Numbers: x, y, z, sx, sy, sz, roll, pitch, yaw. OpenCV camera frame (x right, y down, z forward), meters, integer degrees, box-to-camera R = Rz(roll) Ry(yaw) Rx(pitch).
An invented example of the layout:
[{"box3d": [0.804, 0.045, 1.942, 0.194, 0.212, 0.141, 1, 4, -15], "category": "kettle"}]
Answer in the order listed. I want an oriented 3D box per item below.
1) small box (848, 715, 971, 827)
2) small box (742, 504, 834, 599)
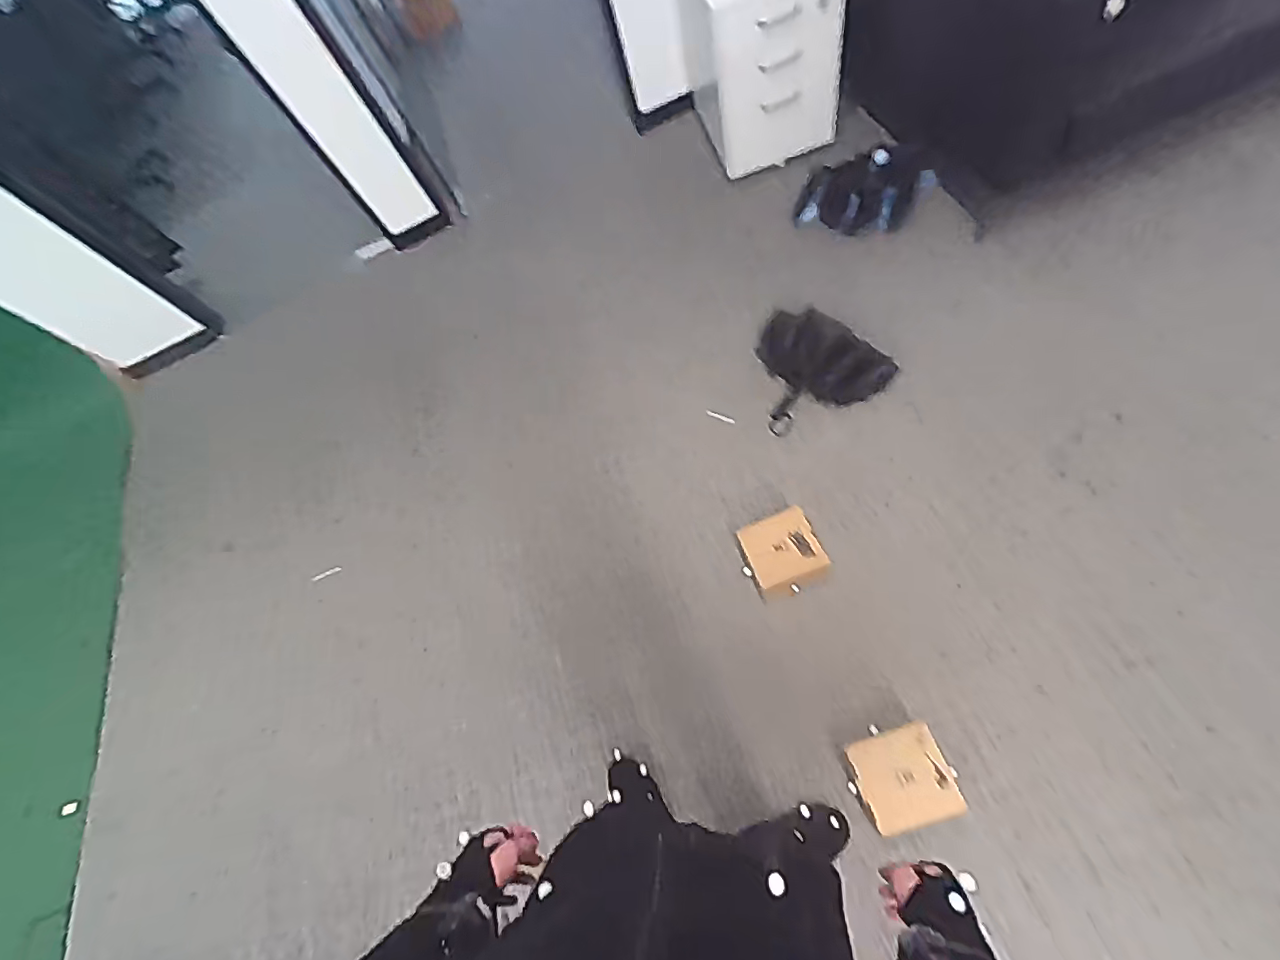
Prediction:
[{"box3d": [0.561, 0.616, 1.154, 0.179, 0.176, 0.168, -22, 62, 7], "category": "small box"}, {"box3d": [0.382, 0.191, 1.402, 0.179, 0.176, 0.168, -25, 61, 6], "category": "small box"}]
